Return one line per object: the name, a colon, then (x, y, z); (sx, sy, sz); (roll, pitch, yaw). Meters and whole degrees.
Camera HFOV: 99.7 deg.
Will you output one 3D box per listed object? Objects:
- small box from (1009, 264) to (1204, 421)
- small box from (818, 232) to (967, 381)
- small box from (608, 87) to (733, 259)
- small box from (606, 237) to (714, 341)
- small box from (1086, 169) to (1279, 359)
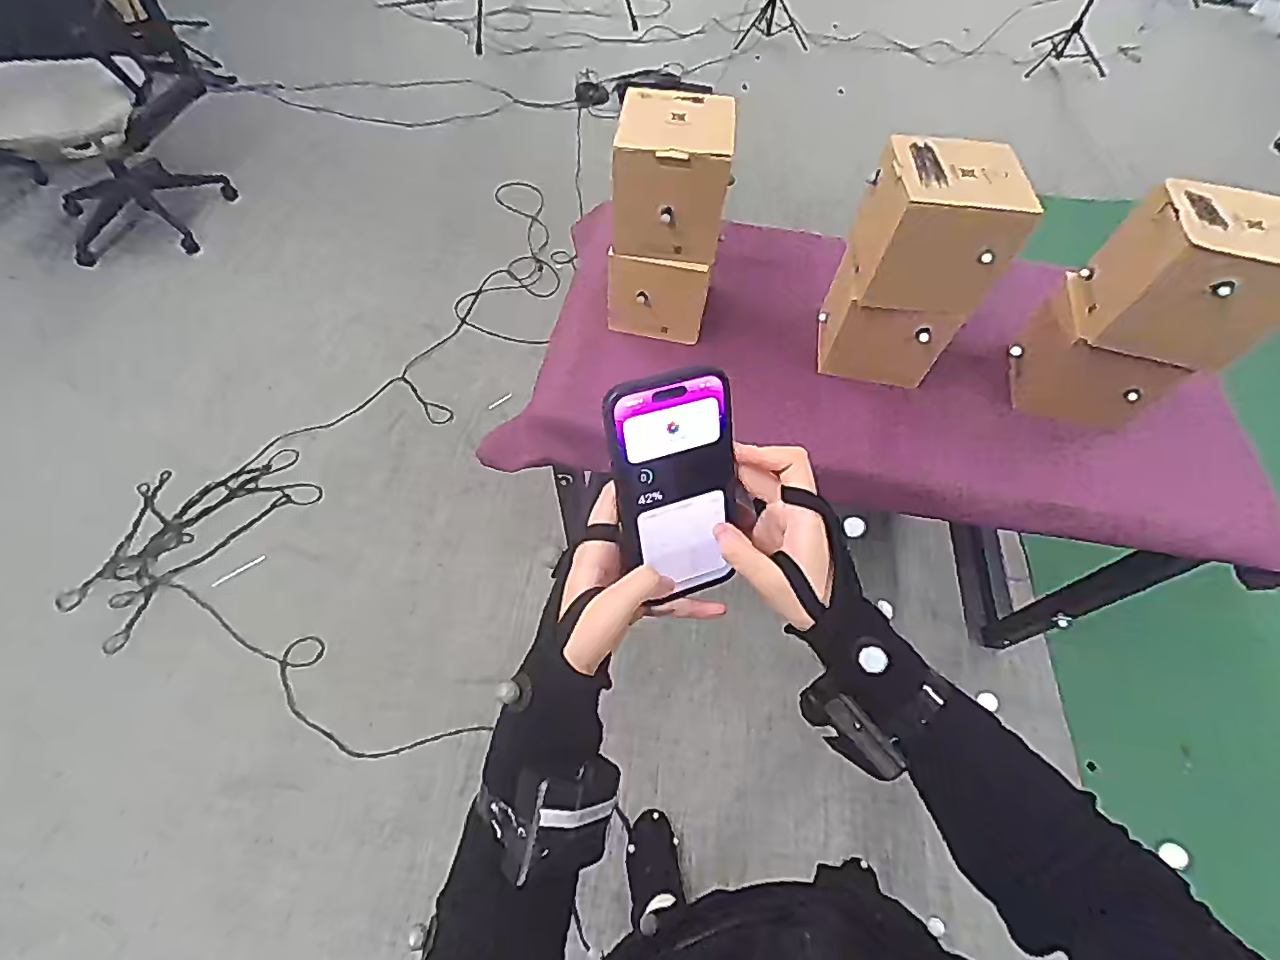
small box: (0.752, -0.220, 0.893); (0.179, 0.176, 0.168); (15, 59, 8)
small box: (0.421, -0.291, 0.928); (0.179, 0.176, 0.168); (10, 58, 5)
small box: (0.047, -0.468, 0.837); (0.168, 0.176, 0.179); (6, 59, 2)
small box: (0.042, -0.375, 0.972); (0.168, 0.176, 0.179); (10, 58, 5)
small box: (0.761, -0.292, 0.746); (0.179, 0.176, 0.168); (15, 59, 7)
